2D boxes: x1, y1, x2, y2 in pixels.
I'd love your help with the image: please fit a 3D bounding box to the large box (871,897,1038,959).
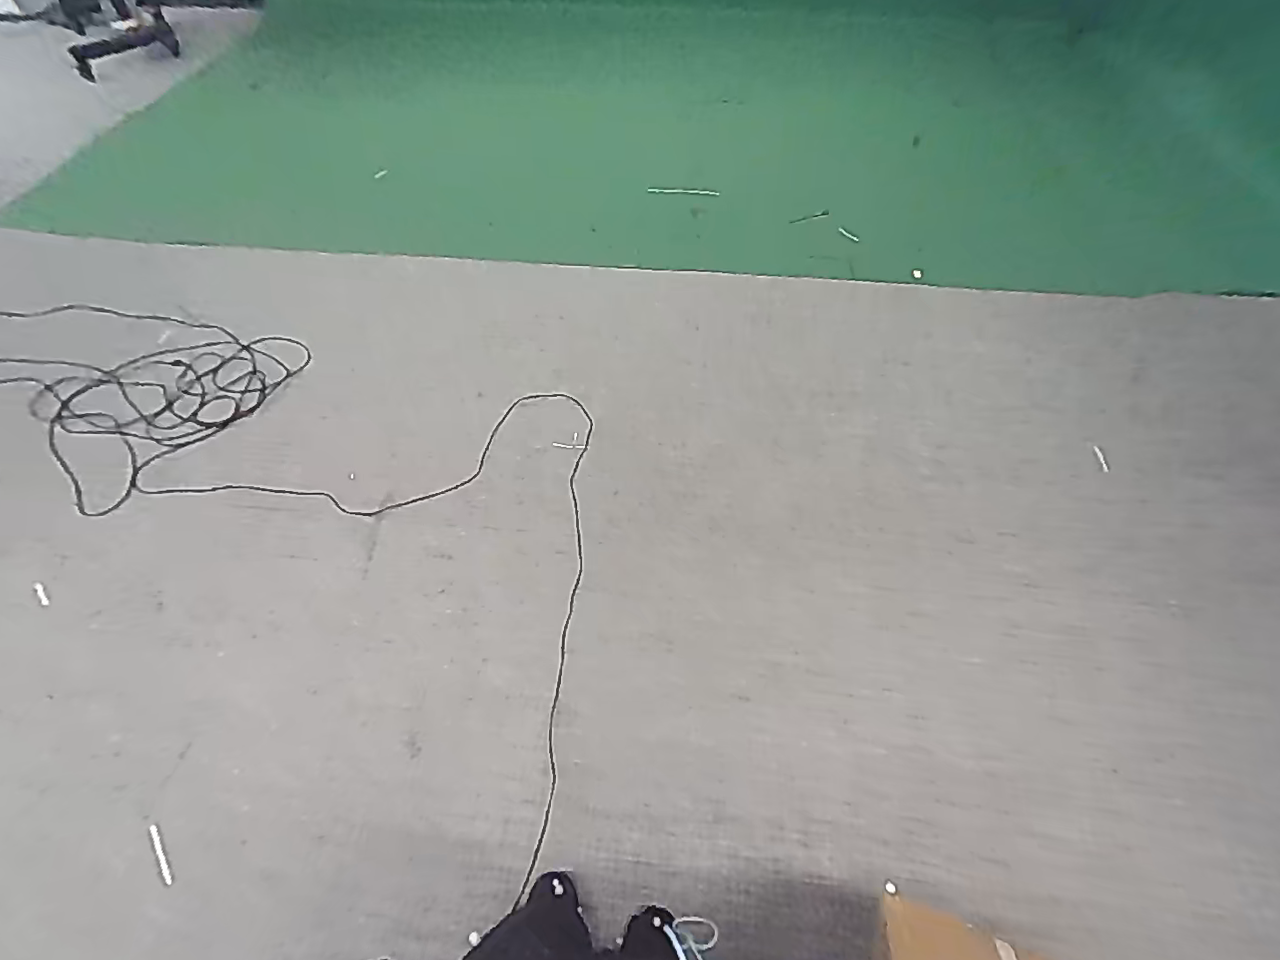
[{"bbox_3d":[0.409,0.782,0.576,0.320,0.408,0.320,14,86,21],"label":"large box"}]
